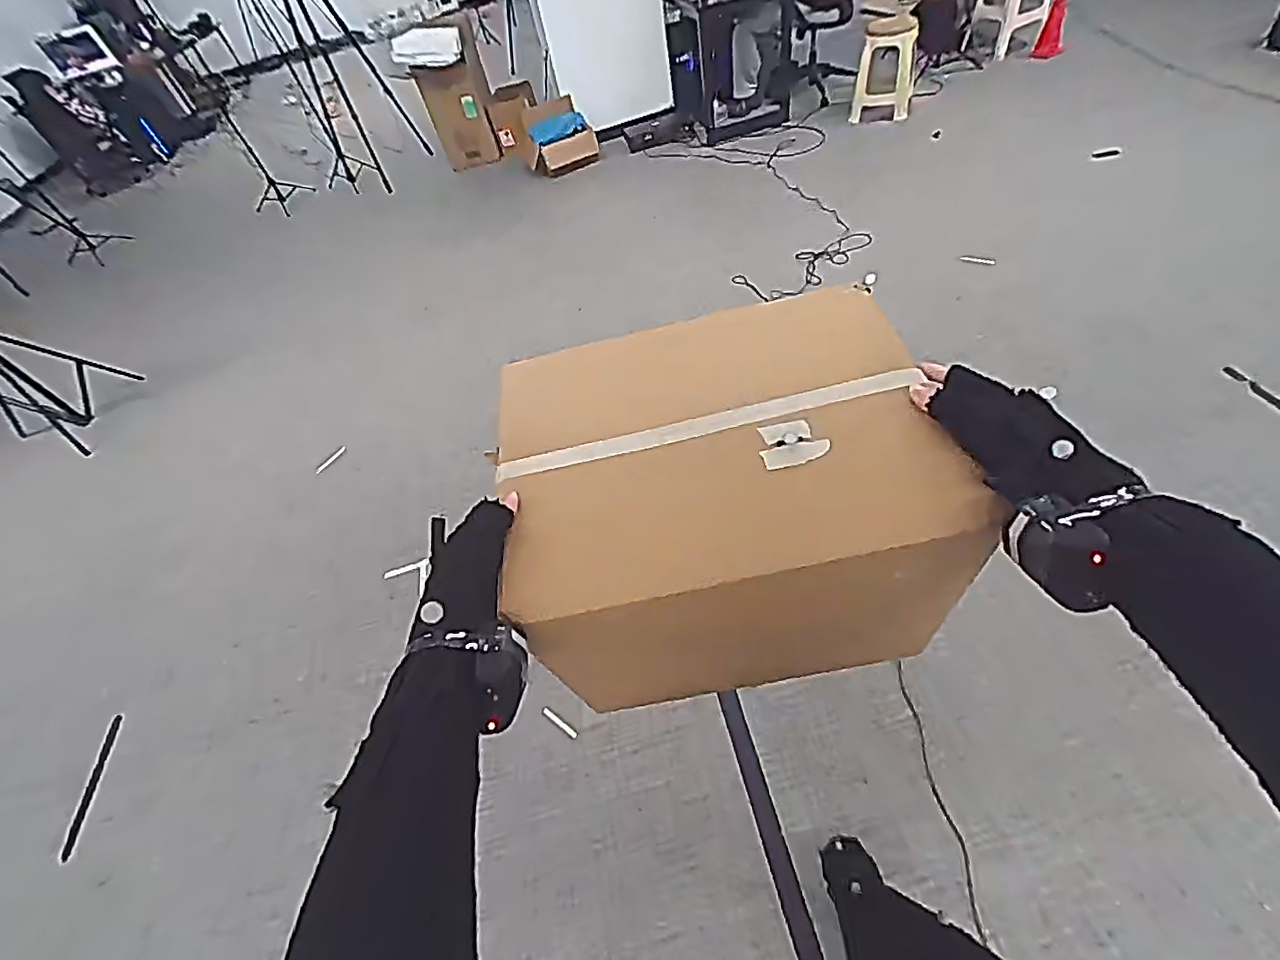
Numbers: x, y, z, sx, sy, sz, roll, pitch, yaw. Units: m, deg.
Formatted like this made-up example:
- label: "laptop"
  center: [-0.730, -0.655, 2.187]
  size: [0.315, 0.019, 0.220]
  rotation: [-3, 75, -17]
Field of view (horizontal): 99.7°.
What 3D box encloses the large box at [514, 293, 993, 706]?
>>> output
- label: "large box"
  center: [0.093, 0.039, 0.644]
  size: [0.408, 0.320, 0.320]
  rotation: [-12, 54, 3]
